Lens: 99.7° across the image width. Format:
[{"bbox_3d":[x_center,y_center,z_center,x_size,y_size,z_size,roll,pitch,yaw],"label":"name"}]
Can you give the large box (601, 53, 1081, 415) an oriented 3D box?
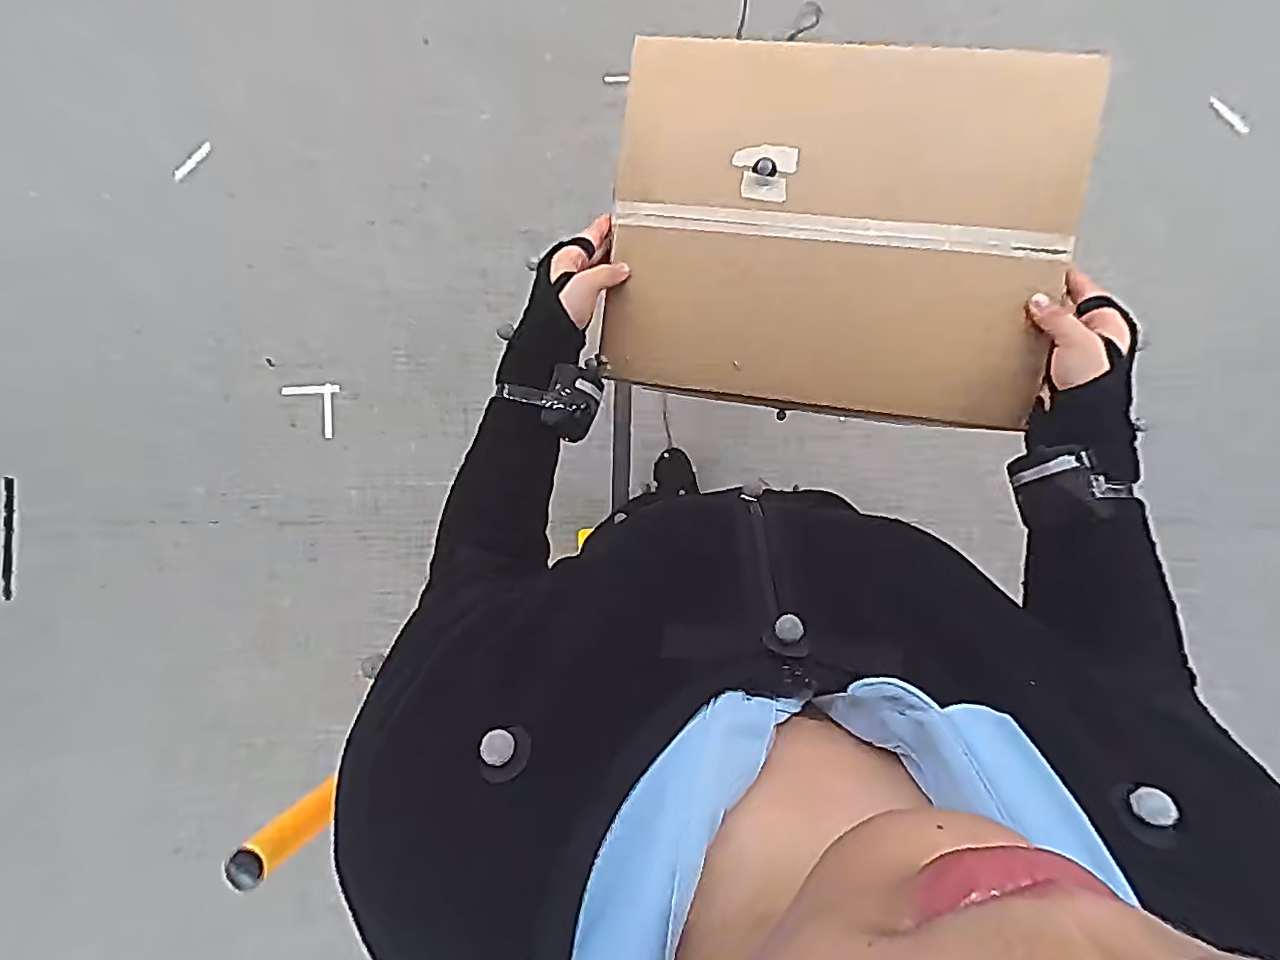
[{"bbox_3d":[0.194,-0.252,0.654,0.408,0.320,0.320,8,97,8],"label":"large box"}]
